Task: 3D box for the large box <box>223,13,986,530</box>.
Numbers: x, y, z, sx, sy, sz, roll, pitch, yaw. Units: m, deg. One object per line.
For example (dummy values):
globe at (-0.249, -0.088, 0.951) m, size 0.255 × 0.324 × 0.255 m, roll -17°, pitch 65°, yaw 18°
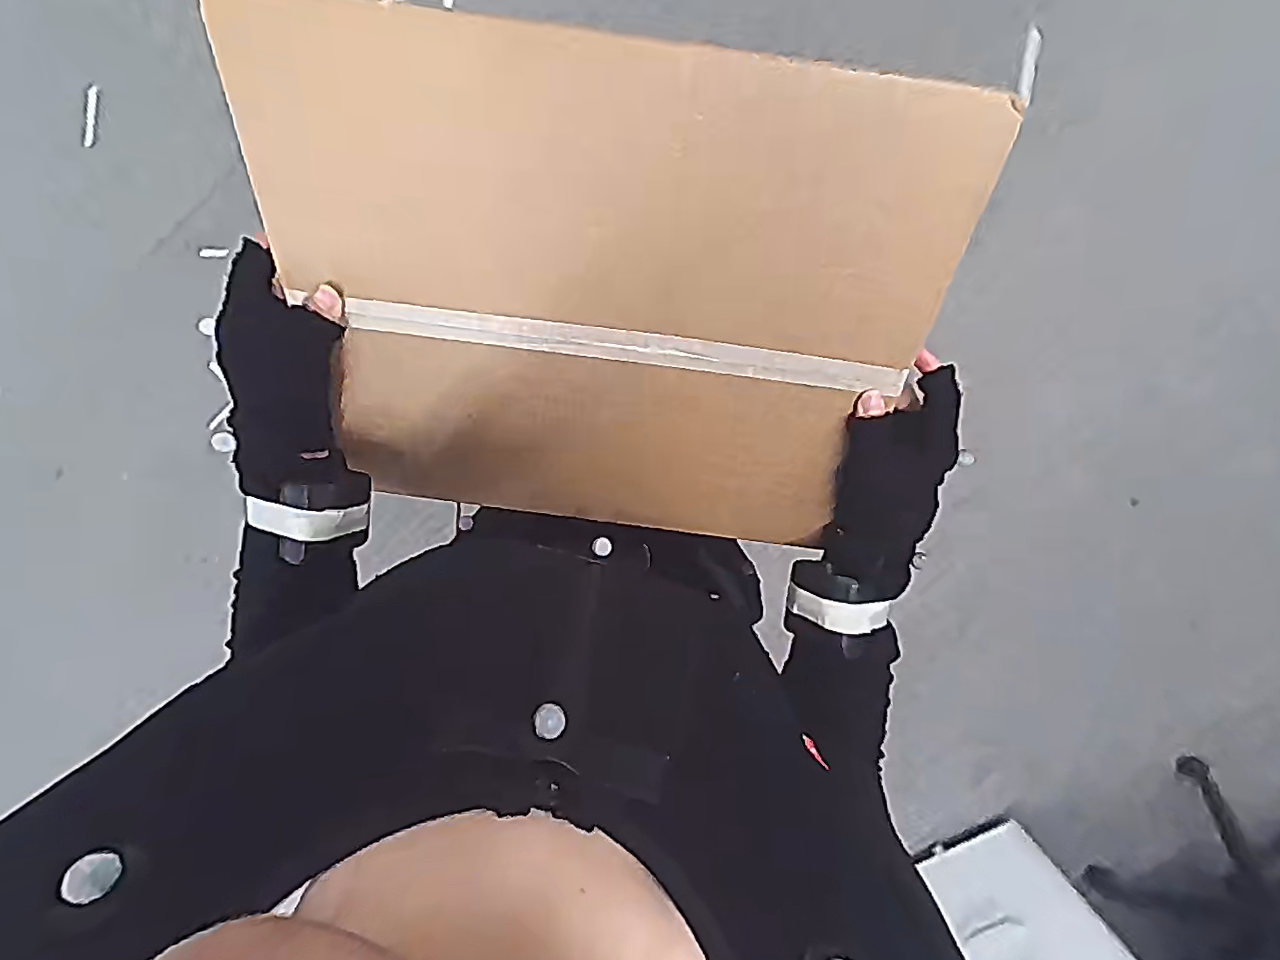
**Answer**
large box at (-0.023, -0.186, 0.483) m, size 0.408 × 0.320 × 0.320 m, roll 6°, pitch 129°, yaw 0°
